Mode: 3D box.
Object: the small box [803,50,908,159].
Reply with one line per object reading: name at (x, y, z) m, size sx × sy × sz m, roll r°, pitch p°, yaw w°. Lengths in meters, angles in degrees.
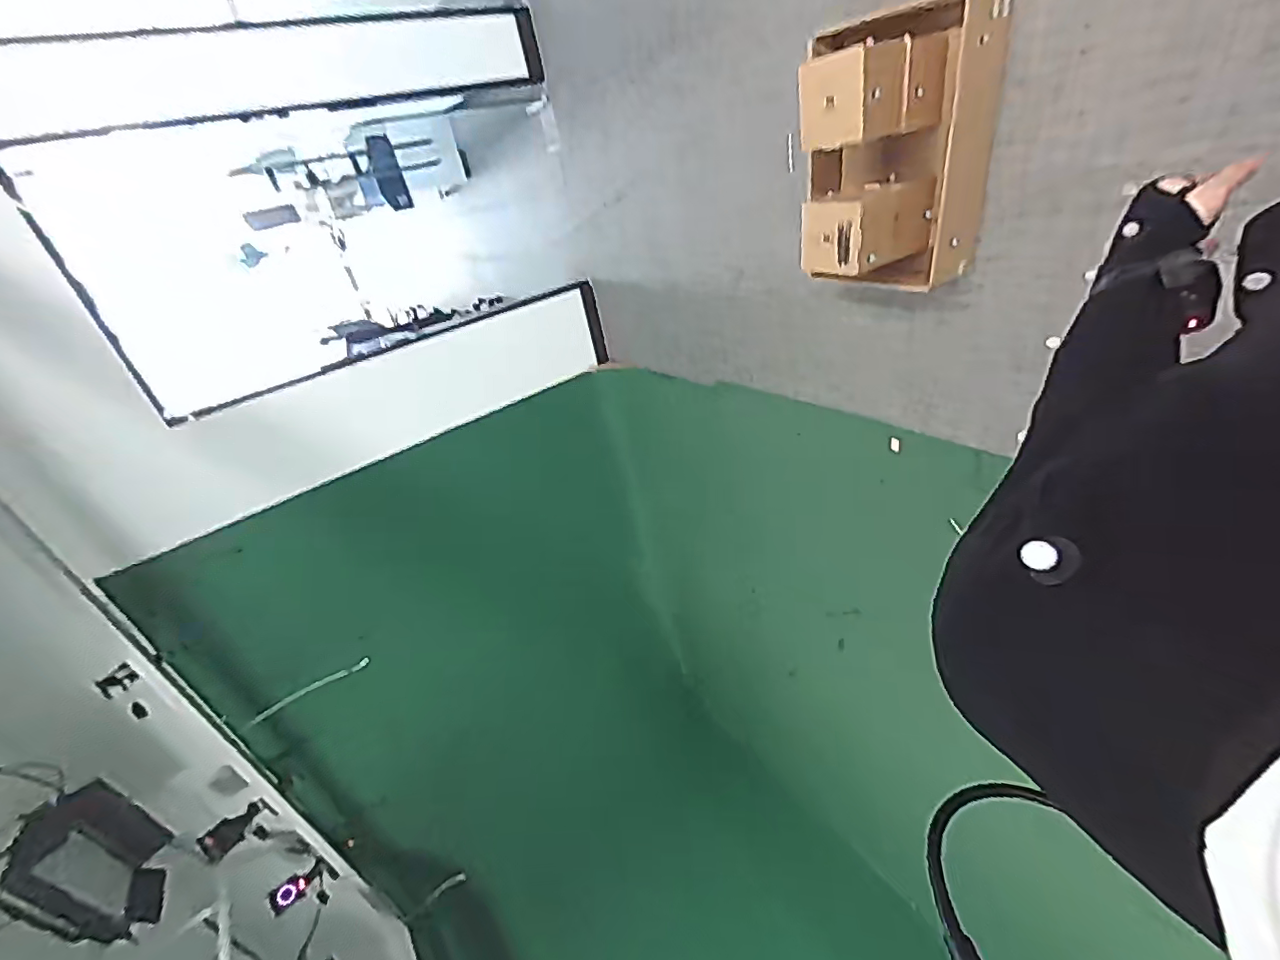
small box at (0.502, -0.871, 1.260) m, size 0.168 × 0.176 × 0.179 m, roll 26°, pitch 137°, yaw 47°
